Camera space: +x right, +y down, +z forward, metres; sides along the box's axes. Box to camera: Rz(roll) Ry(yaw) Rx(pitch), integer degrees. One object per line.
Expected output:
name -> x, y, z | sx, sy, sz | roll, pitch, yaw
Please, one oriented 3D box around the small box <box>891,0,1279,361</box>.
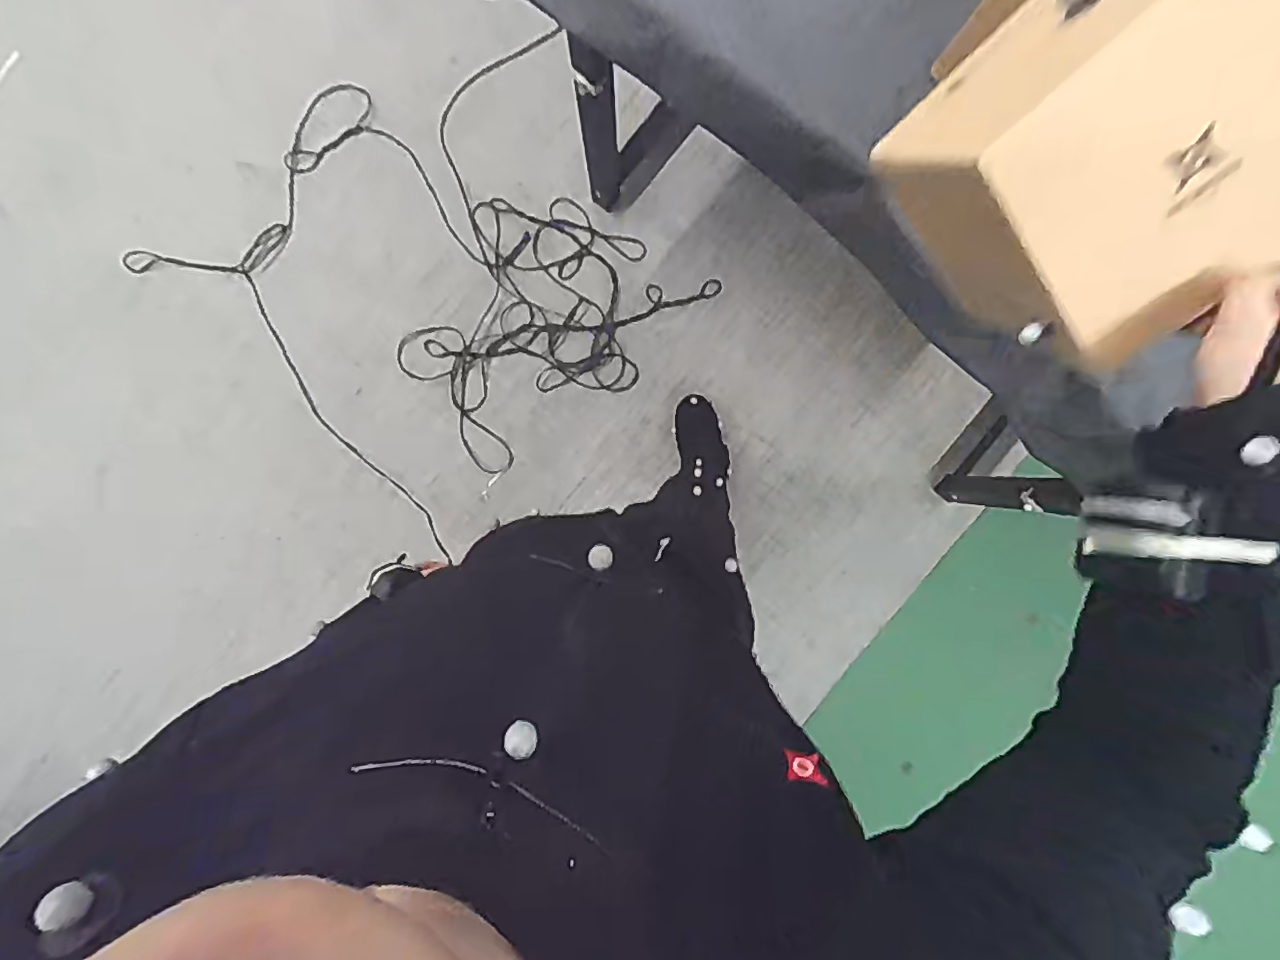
small box -> 0.301, -0.215, 0.351 | 0.179, 0.176, 0.168 | 40, 115, -22
